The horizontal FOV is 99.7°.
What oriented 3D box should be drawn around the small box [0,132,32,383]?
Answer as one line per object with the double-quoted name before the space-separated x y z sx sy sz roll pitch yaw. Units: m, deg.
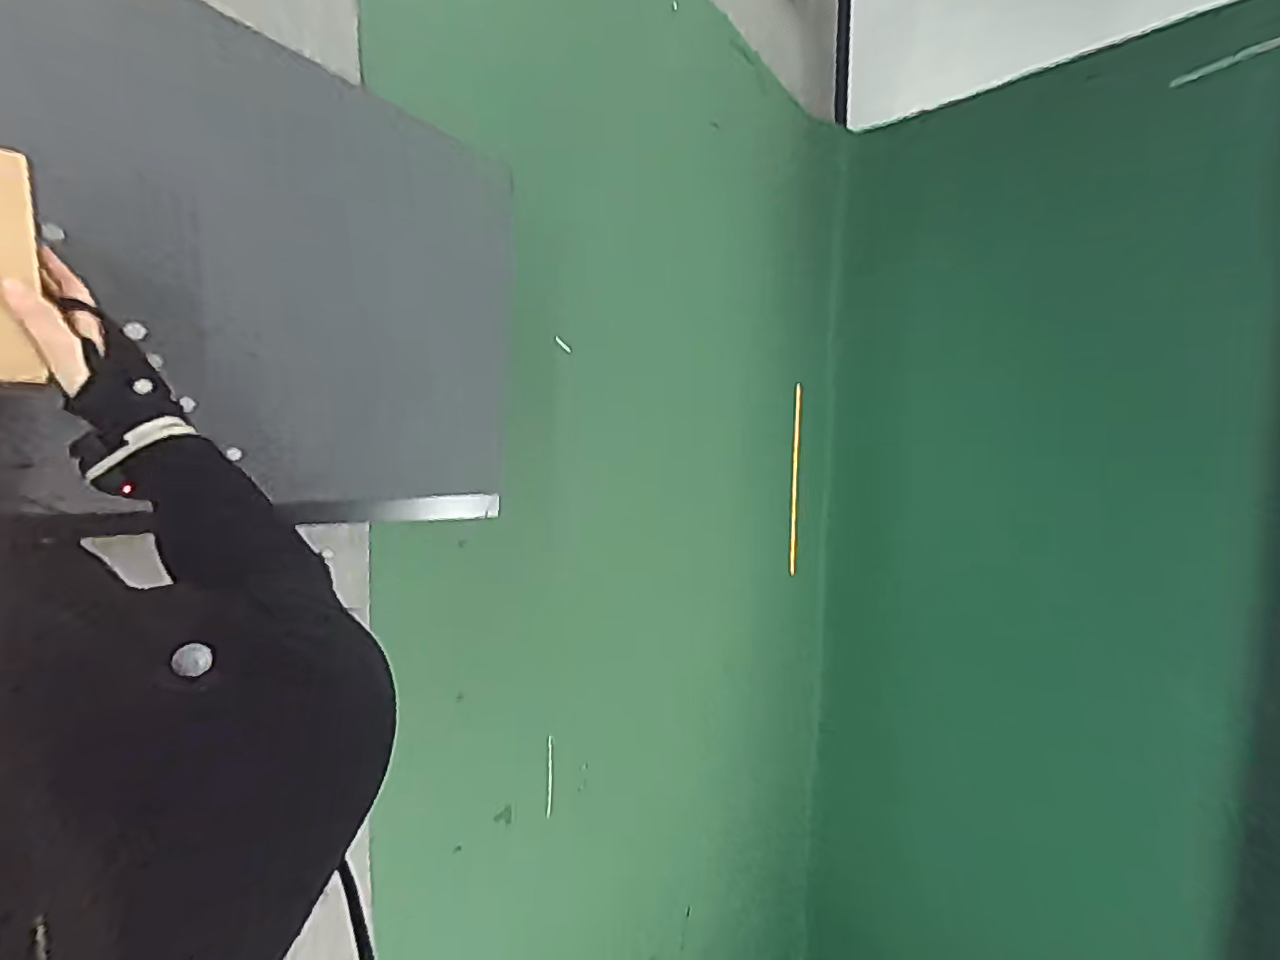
"small box" -0.578 -0.169 0.394 0.168 0.176 0.179 -6 98 -49
